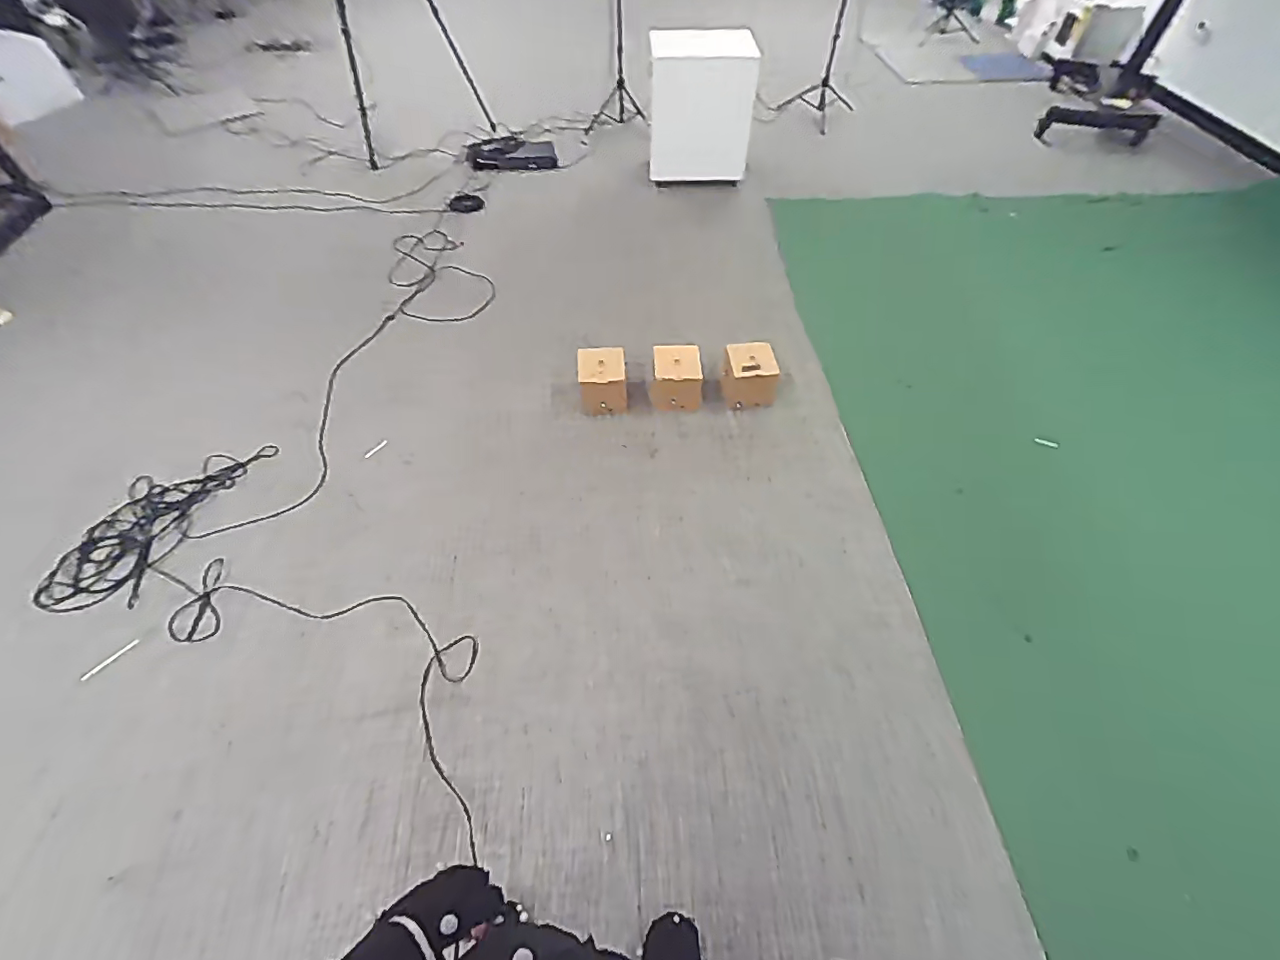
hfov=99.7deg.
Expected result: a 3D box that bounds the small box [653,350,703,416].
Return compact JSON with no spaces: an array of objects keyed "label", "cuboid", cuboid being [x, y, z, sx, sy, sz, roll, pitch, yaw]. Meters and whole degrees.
[{"label":"small box","cuboid":[0.136,-0.356,1.987,0.168,0.176,0.179,-1,54,-2]}]

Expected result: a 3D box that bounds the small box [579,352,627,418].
[{"label":"small box","cuboid":[-0.132,-0.346,1.973,0.168,0.176,0.179,-3,54,-2]}]

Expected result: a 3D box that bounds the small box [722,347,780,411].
[{"label":"small box","cuboid":[0.404,-0.367,1.998,0.168,0.176,0.179,-4,53,-4]}]
